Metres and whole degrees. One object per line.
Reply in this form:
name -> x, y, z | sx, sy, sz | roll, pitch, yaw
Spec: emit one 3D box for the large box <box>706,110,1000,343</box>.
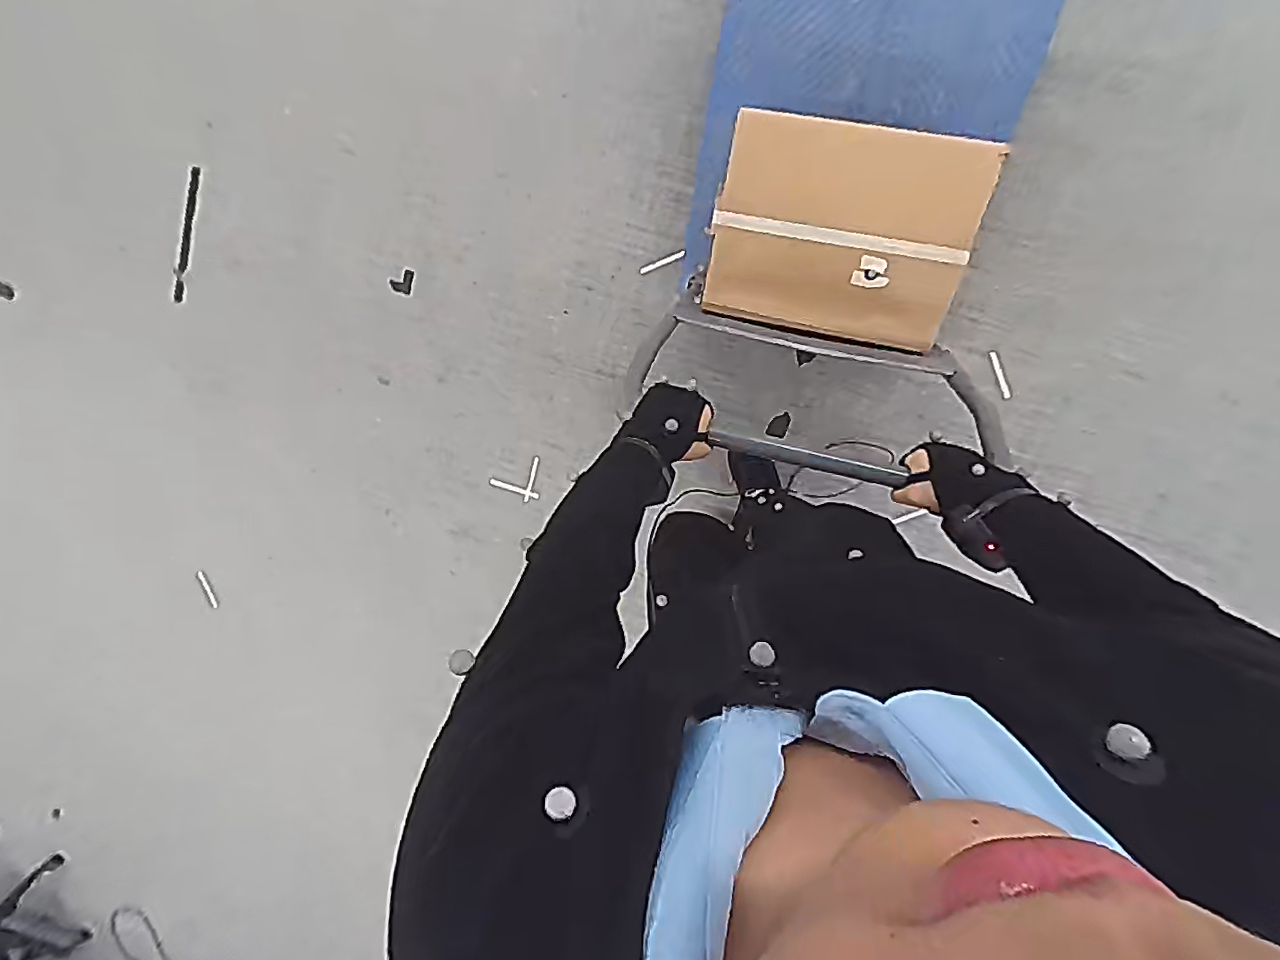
large box -> 0.360, -0.474, 1.035 | 0.408, 0.320, 0.320 | 13, 117, 7
